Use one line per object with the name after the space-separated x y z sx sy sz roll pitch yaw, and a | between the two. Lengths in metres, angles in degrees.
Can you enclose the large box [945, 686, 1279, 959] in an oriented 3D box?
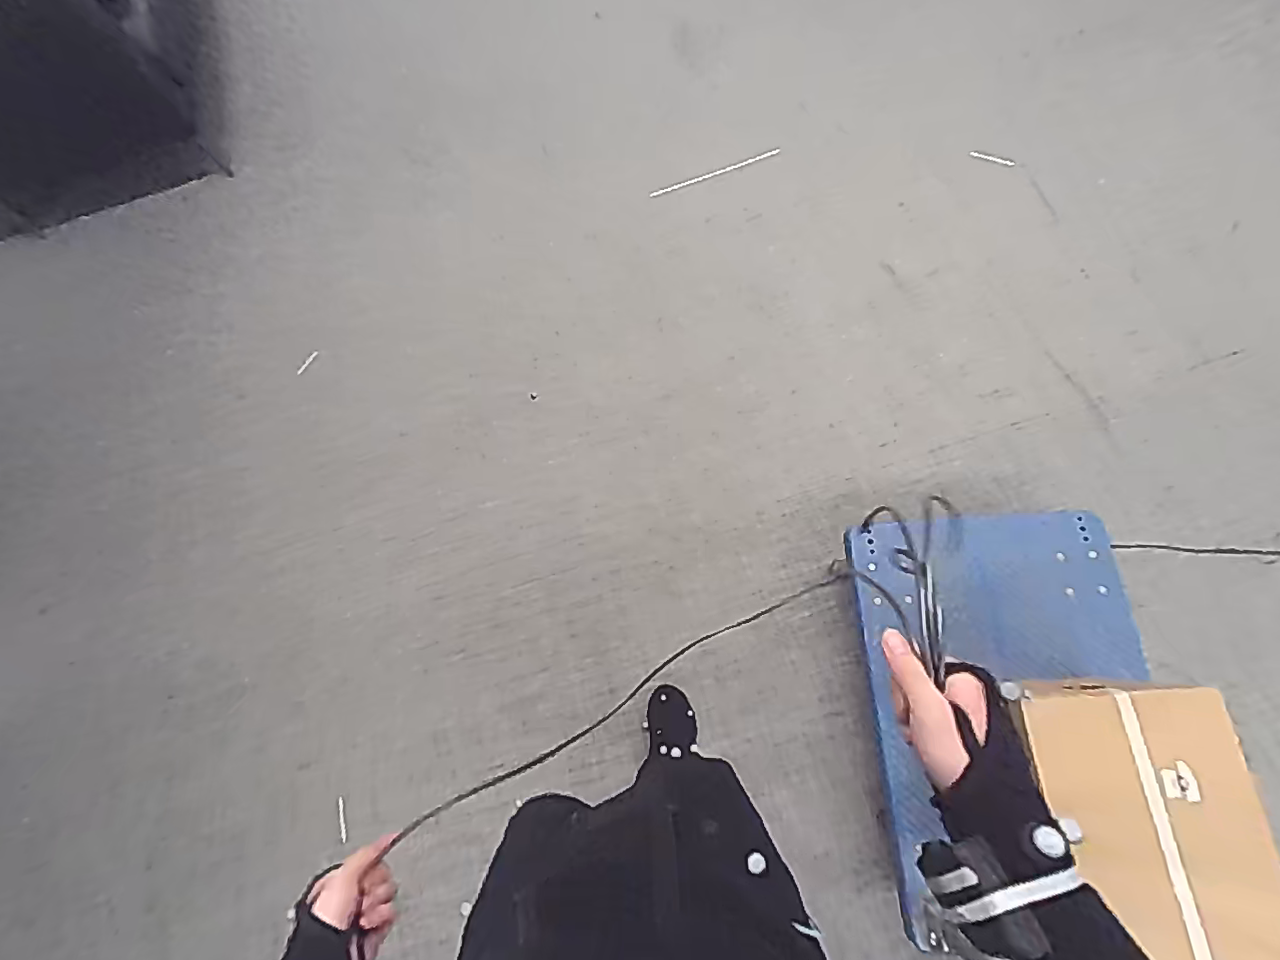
0.804 0.595 0.967 0.320 0.320 0.408 -4 71 5 | large box
